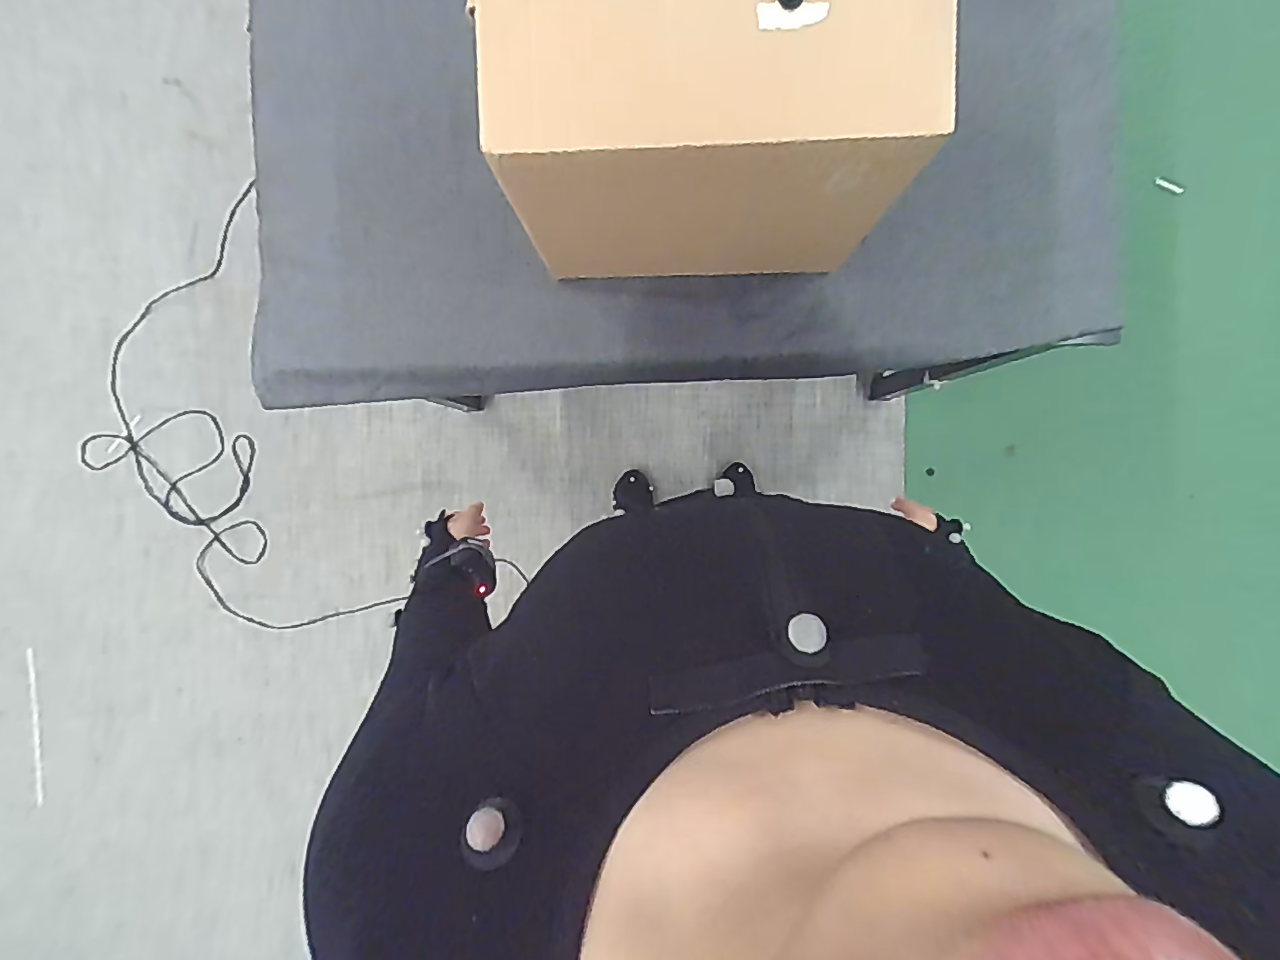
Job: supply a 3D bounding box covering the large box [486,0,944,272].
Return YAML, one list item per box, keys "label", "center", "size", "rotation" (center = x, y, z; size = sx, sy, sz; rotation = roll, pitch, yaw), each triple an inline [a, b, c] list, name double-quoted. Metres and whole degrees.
- label: "large box"
  center: [0.064, -0.454, 0.620]
  size: [0.408, 0.320, 0.320]
  rotation: [-1, 92, 2]
